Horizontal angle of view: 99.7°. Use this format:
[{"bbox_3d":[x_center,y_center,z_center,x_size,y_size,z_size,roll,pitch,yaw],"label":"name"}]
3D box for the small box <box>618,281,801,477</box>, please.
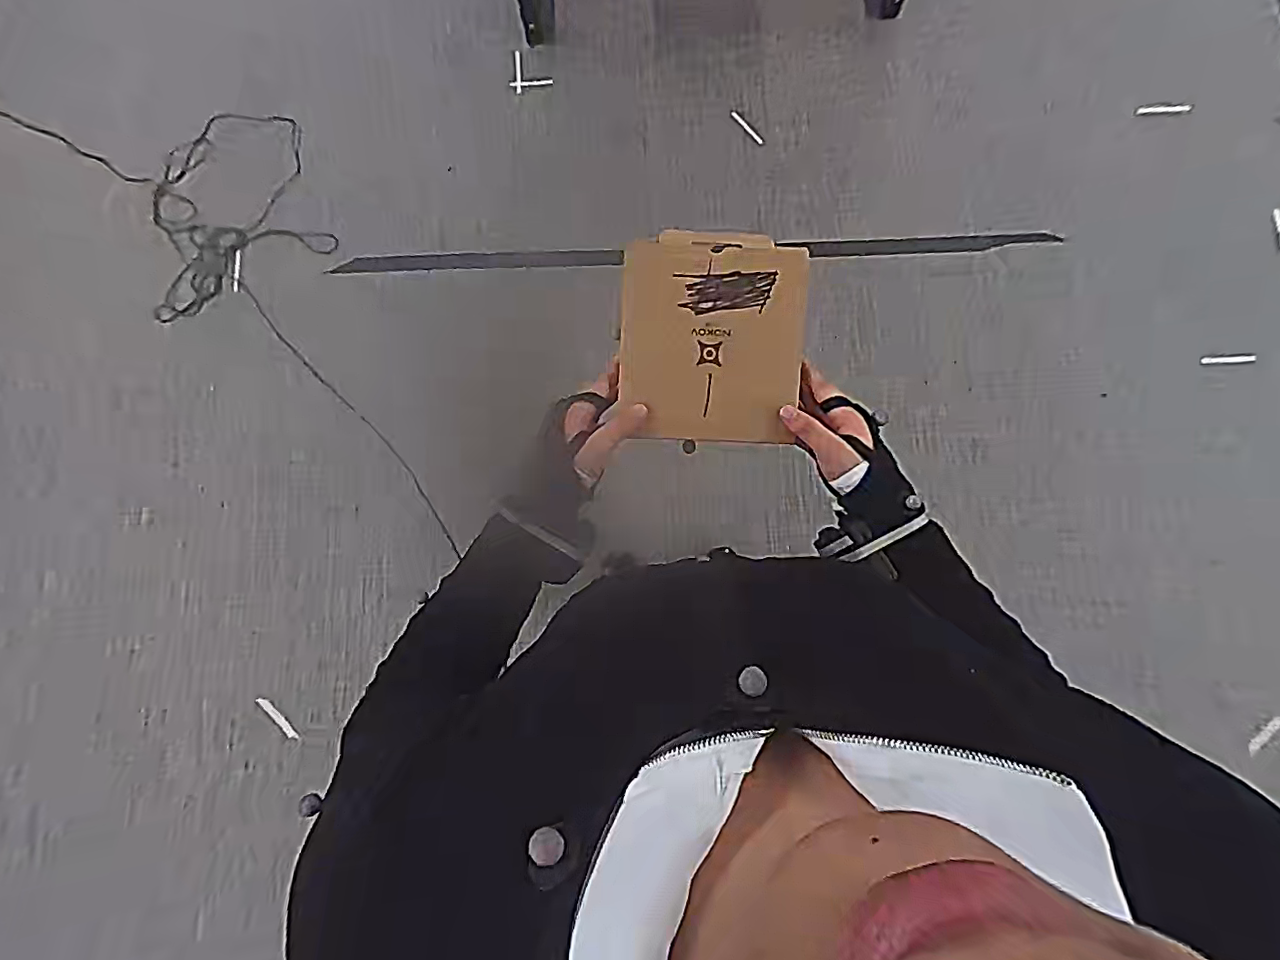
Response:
[{"bbox_3d":[0.063,-0.099,0.580,0.168,0.176,0.179,2,96,0],"label":"small box"}]
